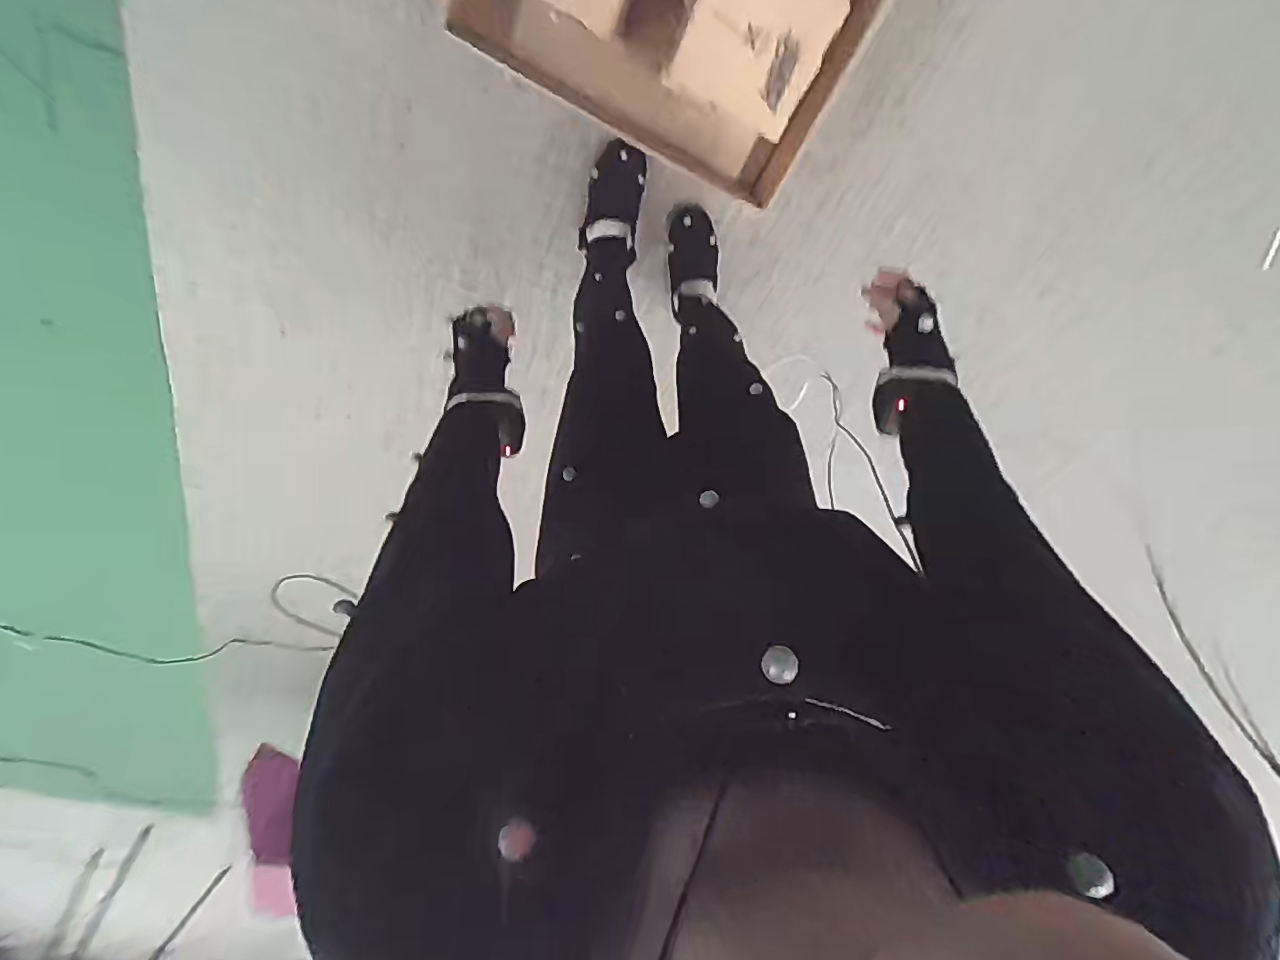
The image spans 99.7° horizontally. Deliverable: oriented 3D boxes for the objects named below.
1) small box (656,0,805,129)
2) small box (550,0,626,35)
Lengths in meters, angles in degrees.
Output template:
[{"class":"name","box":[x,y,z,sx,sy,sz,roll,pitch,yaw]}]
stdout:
[{"class":"small box","box":[0.140,-0.715,0.893,0.179,0.176,0.168,21,127,-12]},{"class":"small box","box":[-0.076,-0.713,0.688,0.168,0.176,0.179,24,126,-16]}]
